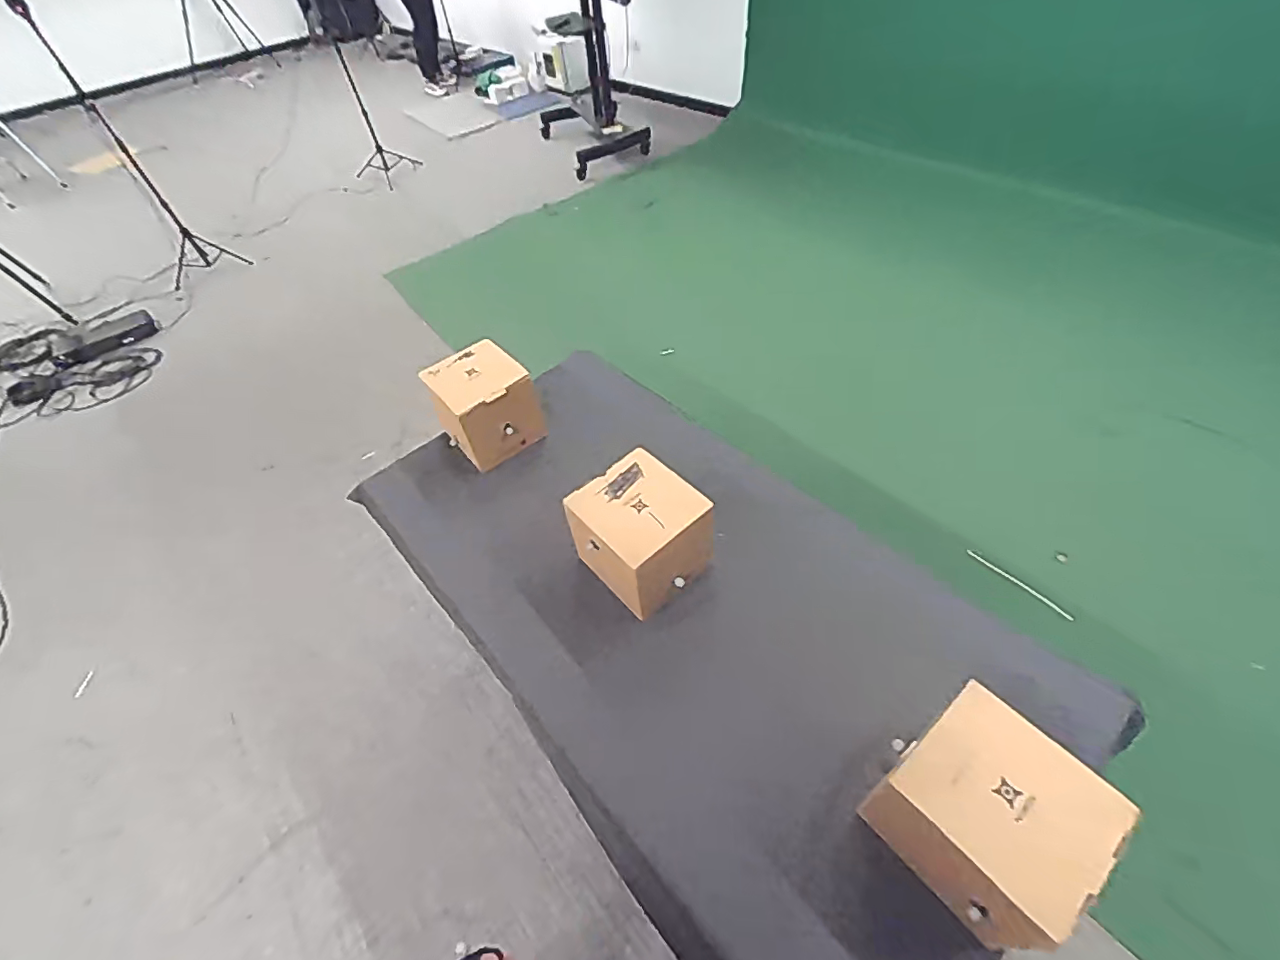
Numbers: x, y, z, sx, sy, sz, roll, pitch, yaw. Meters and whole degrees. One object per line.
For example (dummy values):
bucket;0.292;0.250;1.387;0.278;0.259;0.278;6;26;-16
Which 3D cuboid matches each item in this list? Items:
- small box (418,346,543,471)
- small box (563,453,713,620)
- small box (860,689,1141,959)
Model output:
small box;-0.324;-0.142;1.127;0.168;0.176;0.179;-35;55;-21
small box;0.000;0.095;0.886;0.168;0.176;0.179;-36;56;-22
small box;0.378;0.377;0.600;0.168;0.176;0.179;-34;53;-22
